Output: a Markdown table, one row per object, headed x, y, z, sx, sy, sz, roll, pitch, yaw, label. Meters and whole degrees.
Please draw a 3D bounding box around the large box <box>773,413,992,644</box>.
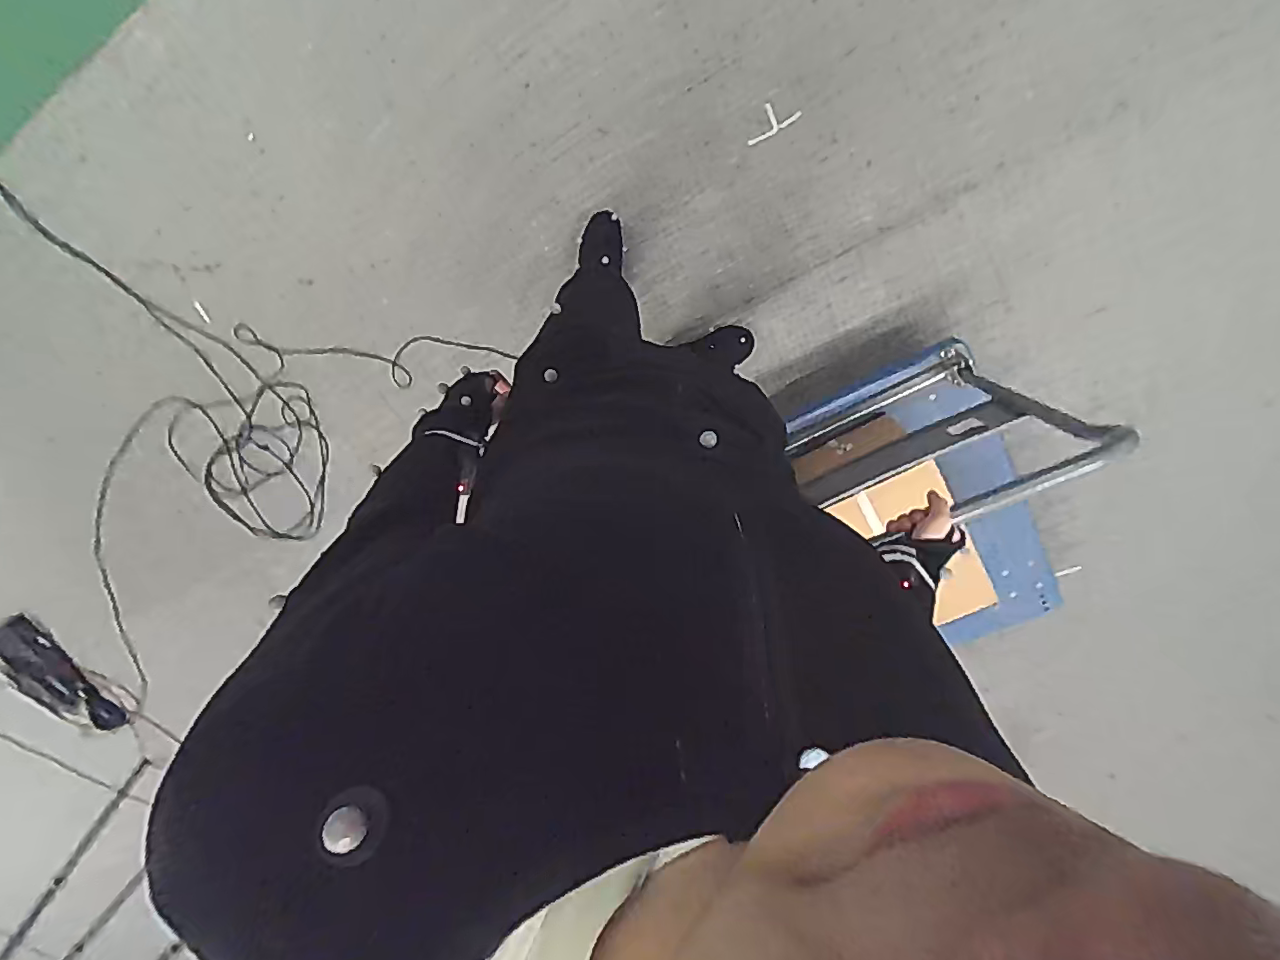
| x | y | z | sx | sy | sz | roll | pitch | yaw | label |
| --- | --- | --- | --- | --- | --- | --- | --- | --- | --- |
| 0.571 | 0.111 | 1.330 | 0.320 | 0.320 | 0.408 | -28 | 109 | 18 | large box |
